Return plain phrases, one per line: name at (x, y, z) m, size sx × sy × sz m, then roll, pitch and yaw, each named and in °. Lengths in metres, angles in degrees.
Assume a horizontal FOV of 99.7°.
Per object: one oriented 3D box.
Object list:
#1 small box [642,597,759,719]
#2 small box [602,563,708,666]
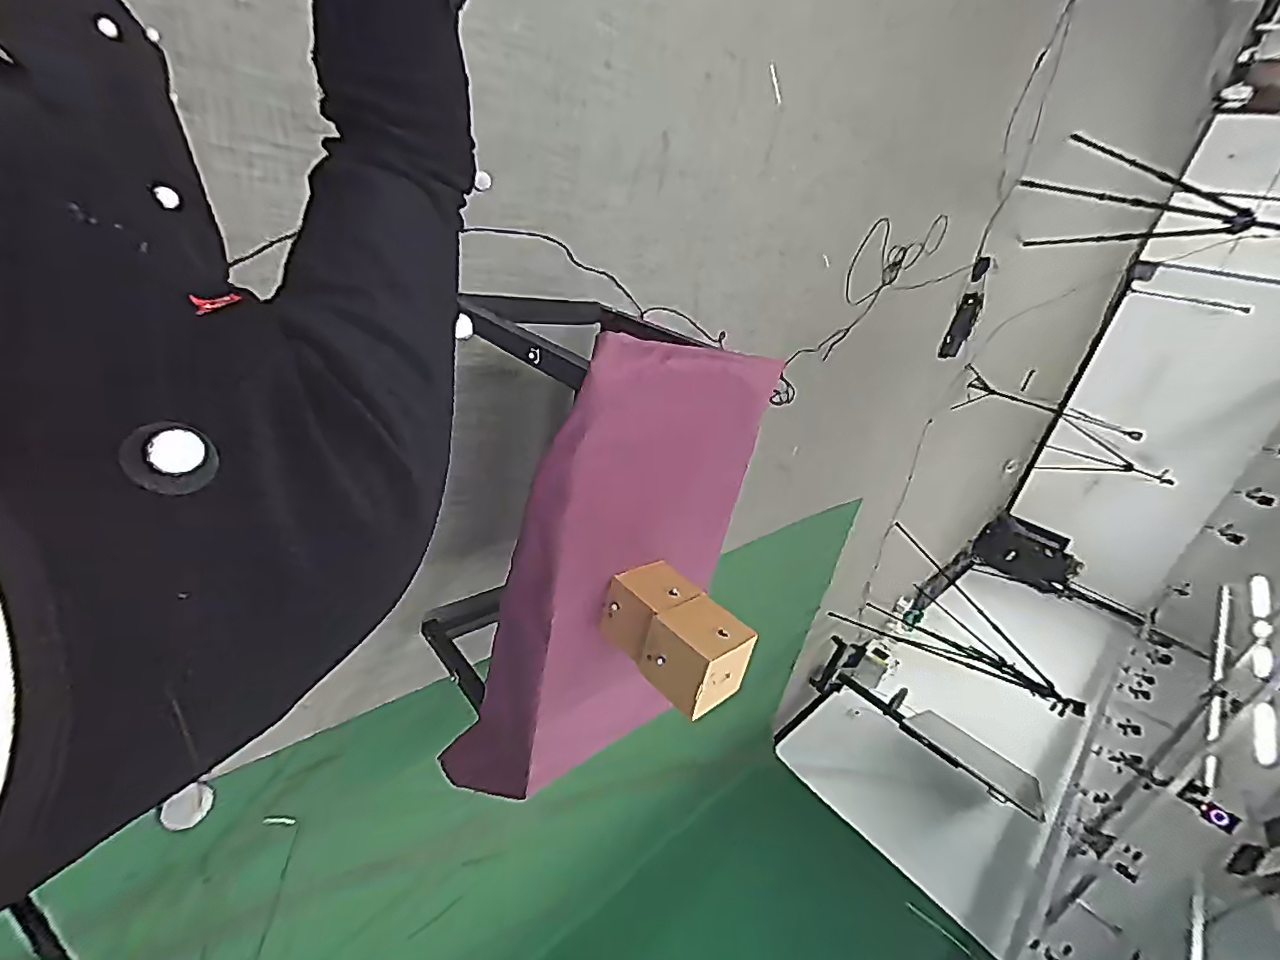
small box at (0.132, 0.389, 1.219) m, size 0.179 × 0.176 × 0.168 m, roll -10°, pitch 121°, yaw -43°
small box at (0.034, 0.323, 1.333) m, size 0.179 × 0.176 × 0.168 m, roll -8°, pitch 120°, yaw -43°
